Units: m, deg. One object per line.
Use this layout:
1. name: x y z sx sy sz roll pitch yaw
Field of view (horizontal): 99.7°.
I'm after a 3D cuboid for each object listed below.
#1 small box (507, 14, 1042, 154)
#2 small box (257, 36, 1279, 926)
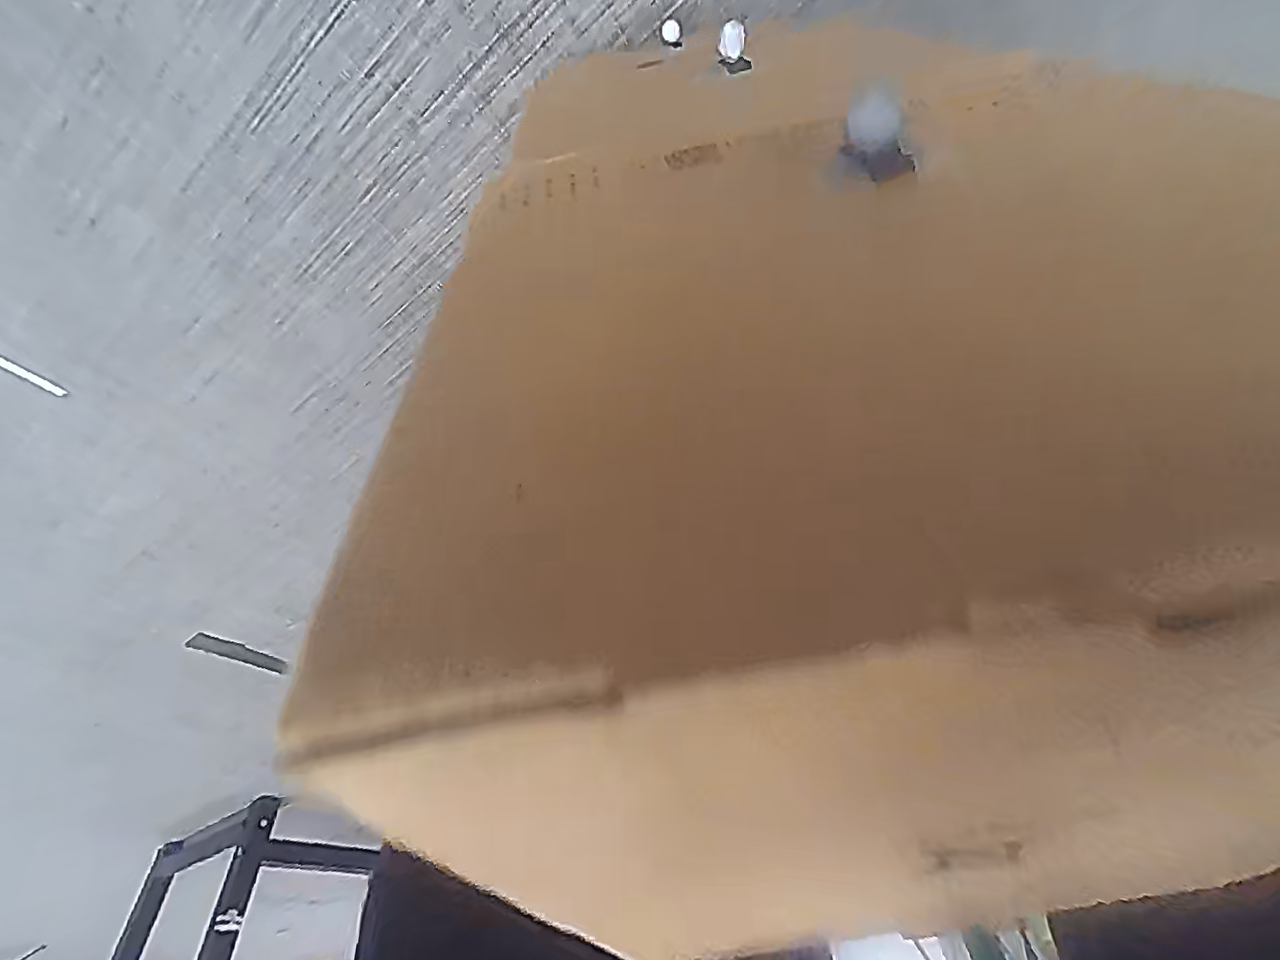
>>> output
1. small box: 0.040 -0.111 0.273 0.168 0.176 0.179 -9 135 1
2. small box: 0.053 0.004 0.158 0.168 0.176 0.179 -11 133 3
